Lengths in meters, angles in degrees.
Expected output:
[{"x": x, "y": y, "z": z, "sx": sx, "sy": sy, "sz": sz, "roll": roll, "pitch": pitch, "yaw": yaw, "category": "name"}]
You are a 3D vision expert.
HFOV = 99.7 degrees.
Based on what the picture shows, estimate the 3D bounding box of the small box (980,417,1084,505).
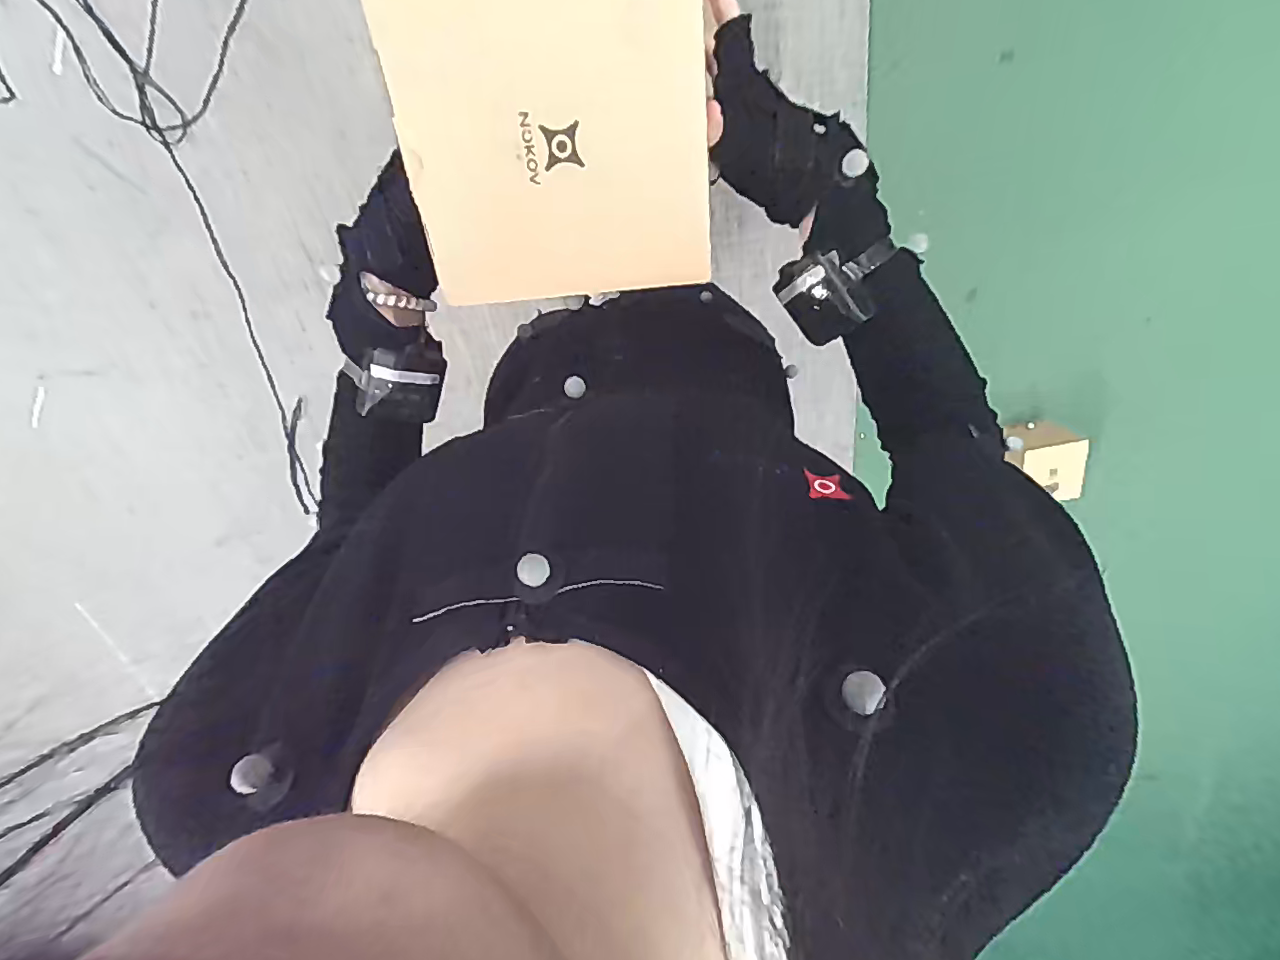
[{"x": 1.084, "y": -0.056, "z": 1.512, "sx": 0.168, "sy": 0.176, "sz": 0.179, "roll": -10, "pitch": 116, "yaw": 4, "category": "small box"}]
